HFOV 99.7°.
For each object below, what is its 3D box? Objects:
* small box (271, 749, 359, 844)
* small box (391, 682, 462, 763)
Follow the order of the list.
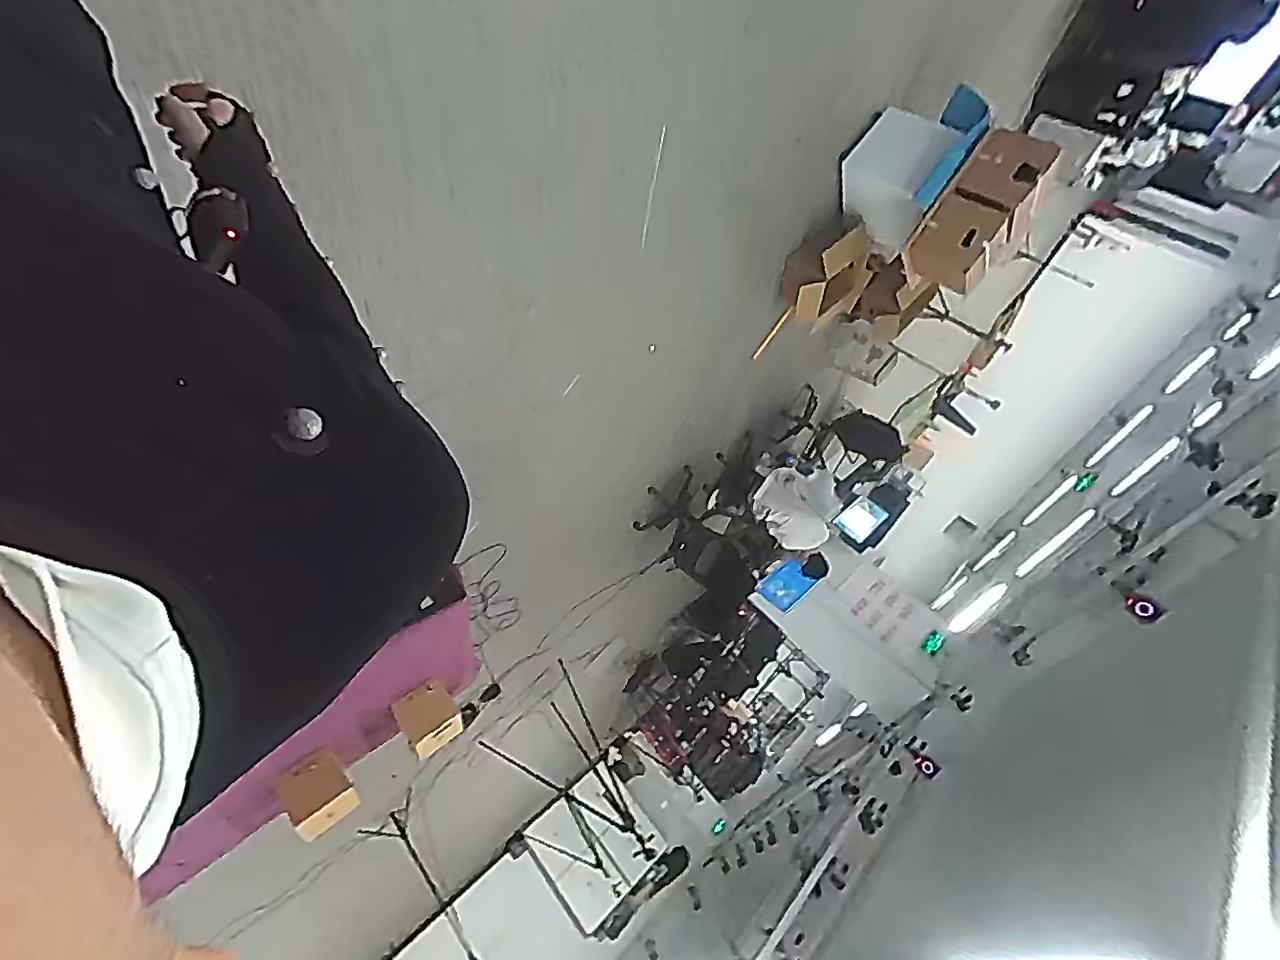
[{"bbox_3d":[-0.996,0.967,1.663,0.168,0.176,0.179,-29,148,-36],"label":"small box"},{"bbox_3d":[-0.739,0.831,1.872,0.168,0.176,0.179,-28,149,-35],"label":"small box"}]
